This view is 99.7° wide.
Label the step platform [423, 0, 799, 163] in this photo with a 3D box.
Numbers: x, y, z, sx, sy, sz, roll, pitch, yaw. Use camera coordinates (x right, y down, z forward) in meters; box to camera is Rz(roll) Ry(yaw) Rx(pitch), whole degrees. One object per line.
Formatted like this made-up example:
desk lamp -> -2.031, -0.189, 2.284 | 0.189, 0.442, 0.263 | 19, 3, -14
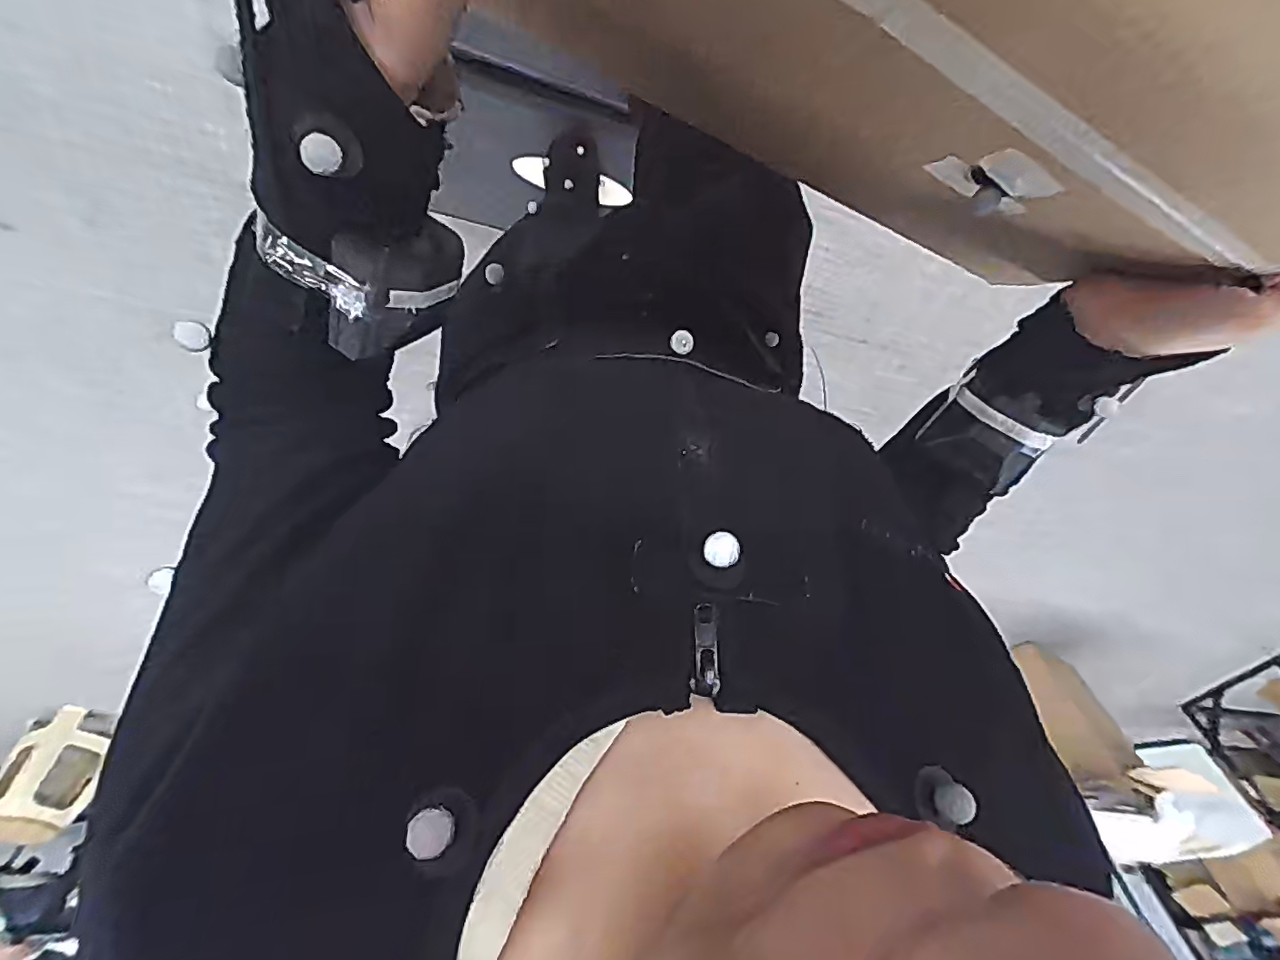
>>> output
step platform -> -0.017, -0.817, 0.906 | 0.684, 0.204, 0.286 | 14, 129, -19
